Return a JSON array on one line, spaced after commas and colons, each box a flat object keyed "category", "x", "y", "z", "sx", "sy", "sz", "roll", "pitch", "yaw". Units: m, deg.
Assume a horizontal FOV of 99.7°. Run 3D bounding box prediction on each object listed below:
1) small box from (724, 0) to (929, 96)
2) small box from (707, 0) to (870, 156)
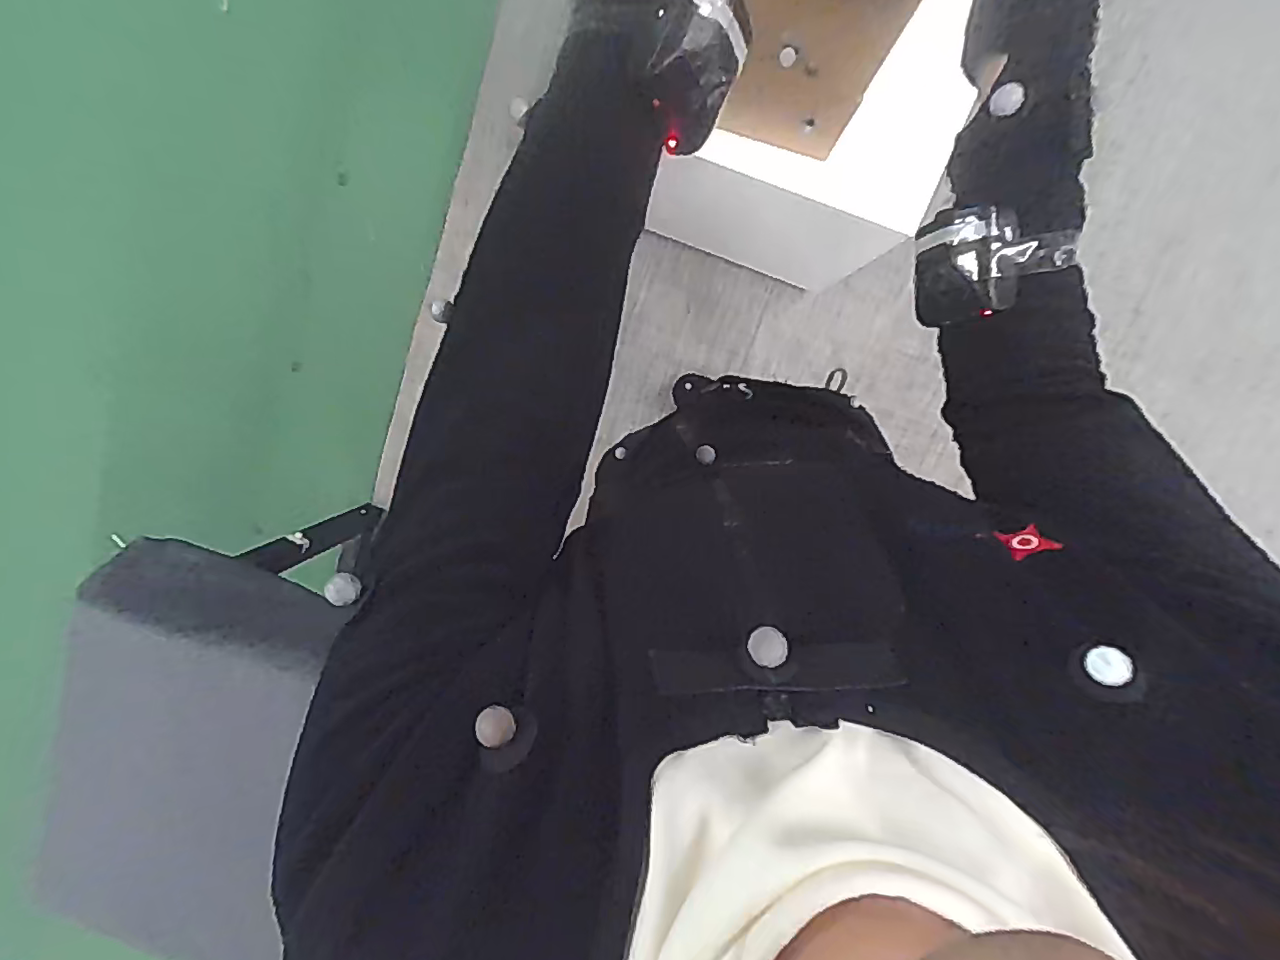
[{"category": "small box", "x": 0.177, "y": -0.490, "z": 0.473, "sx": 0.168, "sy": 0.176, "sz": 0.179, "roll": 16, "pitch": 99, "yaw": 2}, {"category": "small box", "x": 0.186, "y": -0.513, "z": 0.635, "sx": 0.179, "sy": 0.176, "sz": 0.168, "roll": 18, "pitch": 101, "yaw": 3}]
